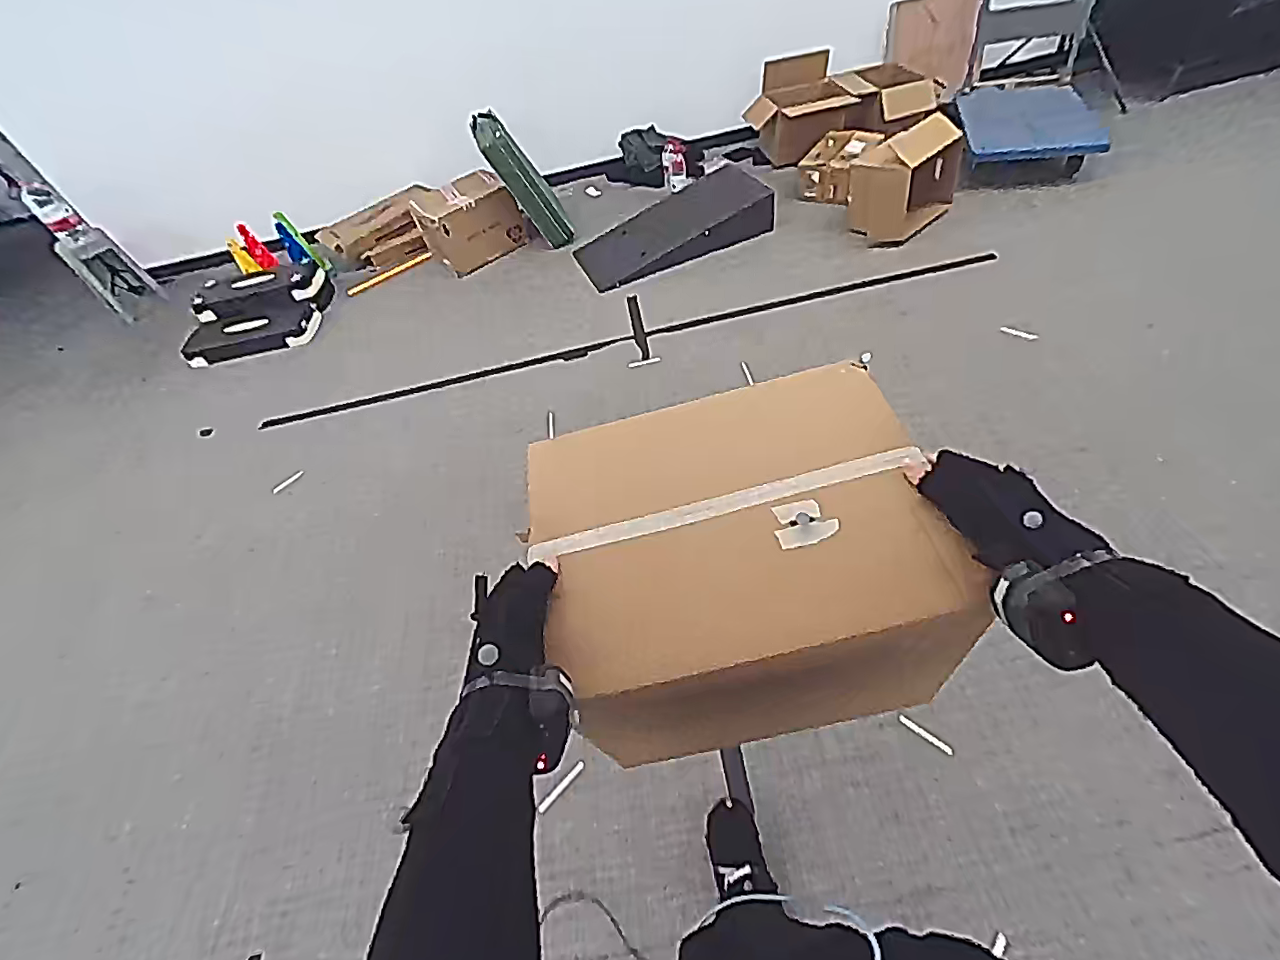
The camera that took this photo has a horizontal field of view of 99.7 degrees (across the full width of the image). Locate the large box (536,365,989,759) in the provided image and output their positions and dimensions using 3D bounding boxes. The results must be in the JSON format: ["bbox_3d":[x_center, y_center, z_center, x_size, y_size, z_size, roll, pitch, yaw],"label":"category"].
[{"bbox_3d":[0.115,0.115,0.681,0.408,0.320,0.320,-15,52,2],"label":"large box"}]
